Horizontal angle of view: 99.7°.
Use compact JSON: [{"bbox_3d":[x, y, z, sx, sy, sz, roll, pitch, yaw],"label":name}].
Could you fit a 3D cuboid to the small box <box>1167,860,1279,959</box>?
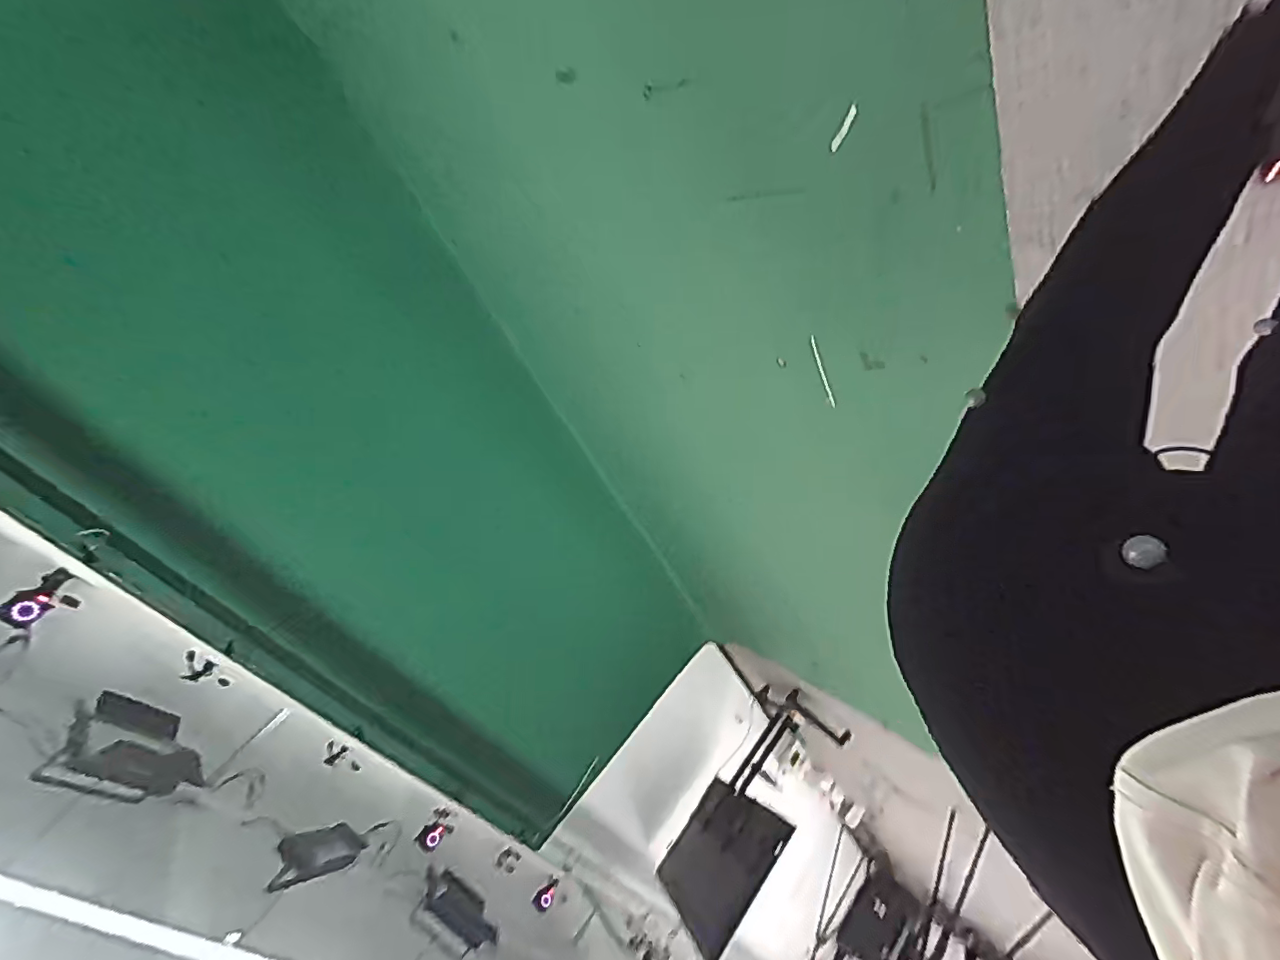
[{"bbox_3d":[1.313,1.005,1.205,0.168,0.176,0.179,15,145,52],"label":"small box"}]
